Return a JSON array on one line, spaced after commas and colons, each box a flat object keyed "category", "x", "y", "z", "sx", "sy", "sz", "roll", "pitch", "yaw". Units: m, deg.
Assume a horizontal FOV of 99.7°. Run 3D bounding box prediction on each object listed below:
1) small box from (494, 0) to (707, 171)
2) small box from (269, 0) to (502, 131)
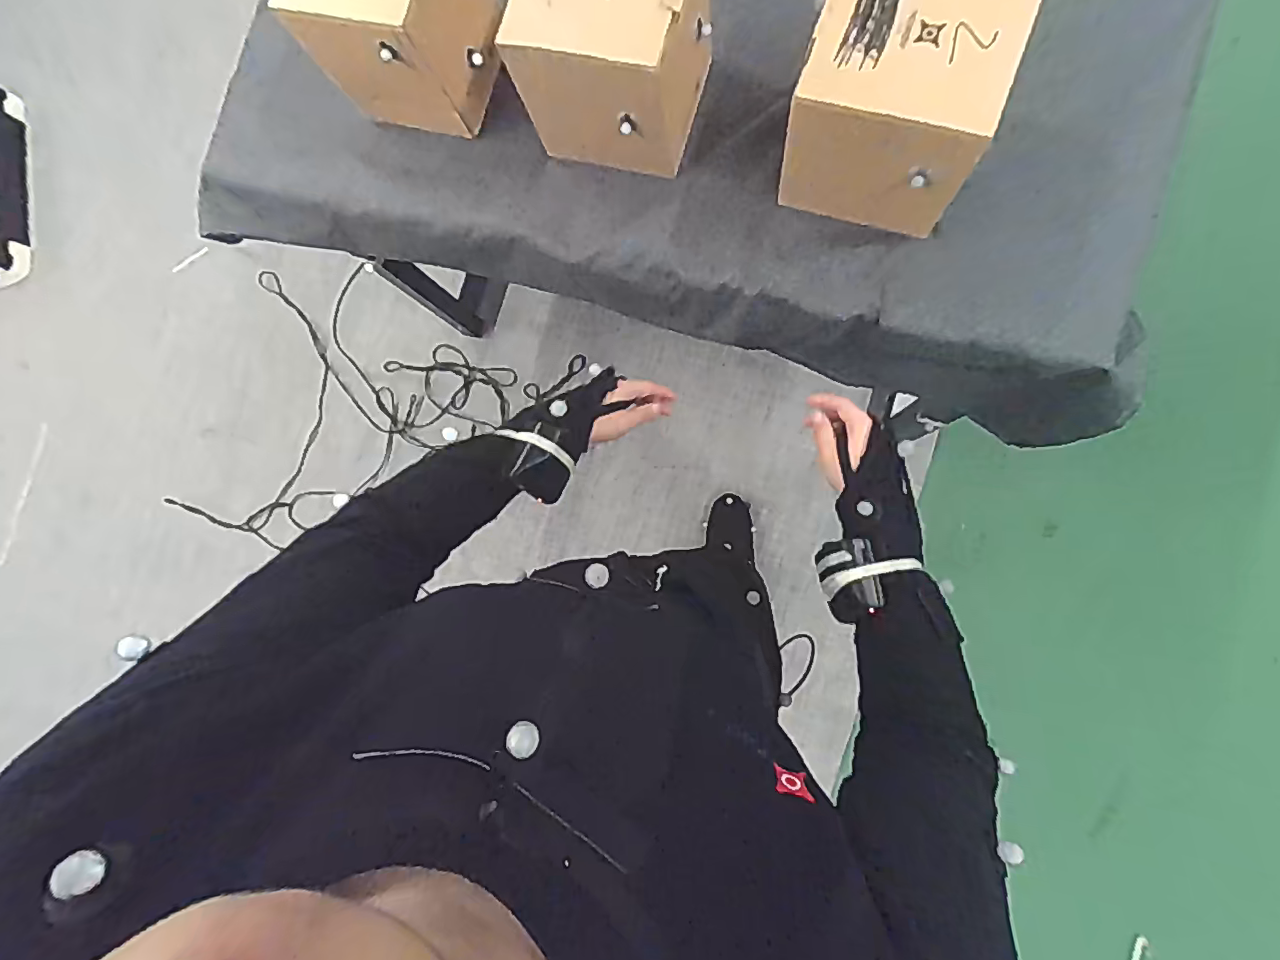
[{"category": "small box", "x": -0.029, "y": -0.483, "z": 0.609, "sx": 0.179, "sy": 0.176, "sz": 0.168, "roll": 16, "pitch": 87, "yaw": 12}, {"category": "small box", "x": -0.292, "y": -0.567, "z": 0.661, "sx": 0.179, "sy": 0.176, "sz": 0.168, "roll": 16, "pitch": 87, "yaw": 10}]
